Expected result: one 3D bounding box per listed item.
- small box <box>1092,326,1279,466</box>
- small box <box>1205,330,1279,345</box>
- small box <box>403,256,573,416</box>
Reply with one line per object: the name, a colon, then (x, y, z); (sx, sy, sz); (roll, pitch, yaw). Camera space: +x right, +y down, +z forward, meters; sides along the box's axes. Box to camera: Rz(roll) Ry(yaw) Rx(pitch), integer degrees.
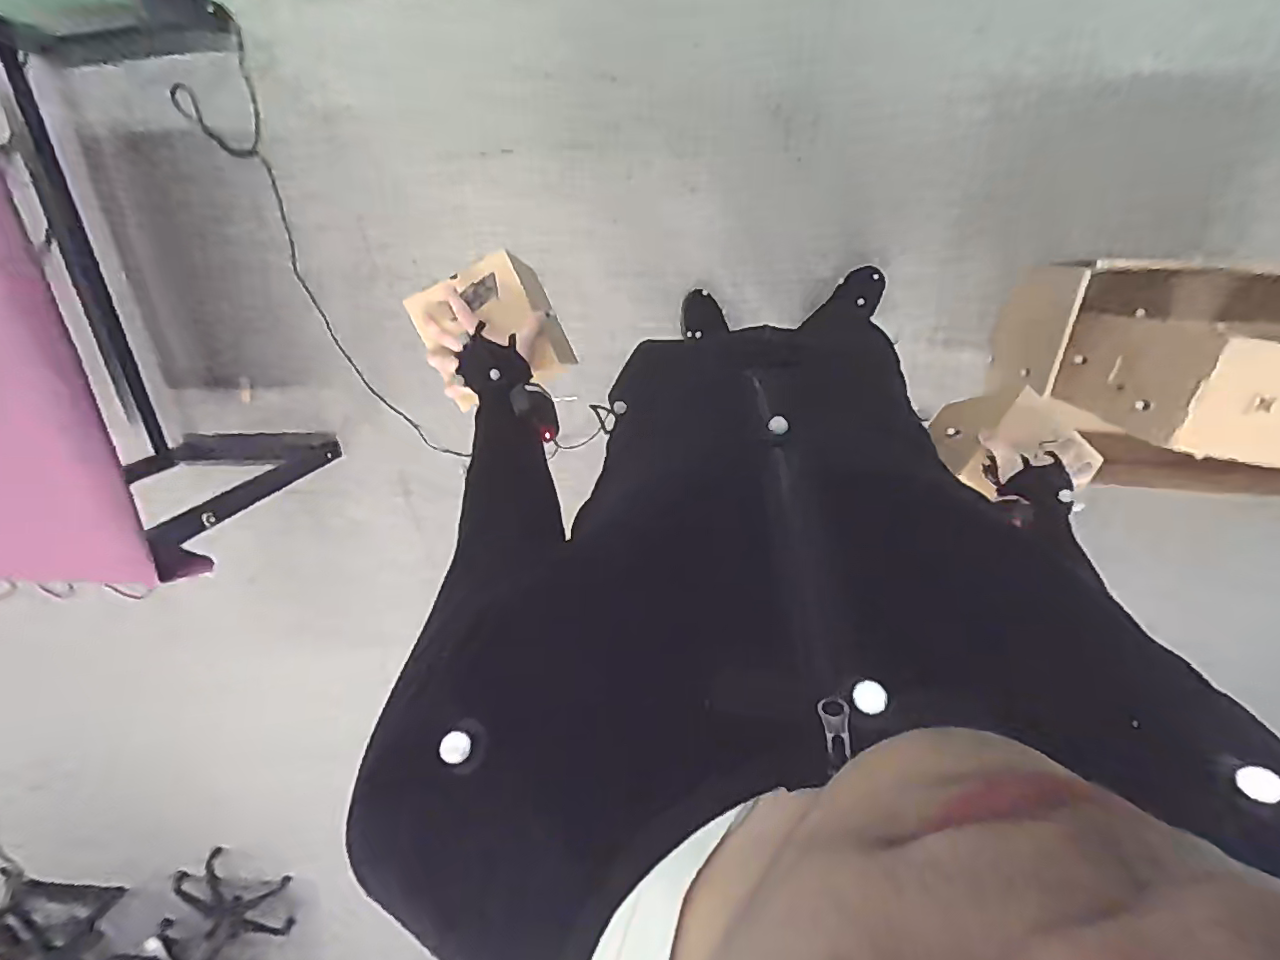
small box: (0.873, -0.139, 0.844); (0.179, 0.176, 0.168); (10, 113, 1)
small box: (1.138, -0.177, 0.981); (0.179, 0.176, 0.168); (4, 112, 5)
small box: (-0.224, -0.215, 0.844); (0.168, 0.176, 0.179); (-25, 99, 8)
